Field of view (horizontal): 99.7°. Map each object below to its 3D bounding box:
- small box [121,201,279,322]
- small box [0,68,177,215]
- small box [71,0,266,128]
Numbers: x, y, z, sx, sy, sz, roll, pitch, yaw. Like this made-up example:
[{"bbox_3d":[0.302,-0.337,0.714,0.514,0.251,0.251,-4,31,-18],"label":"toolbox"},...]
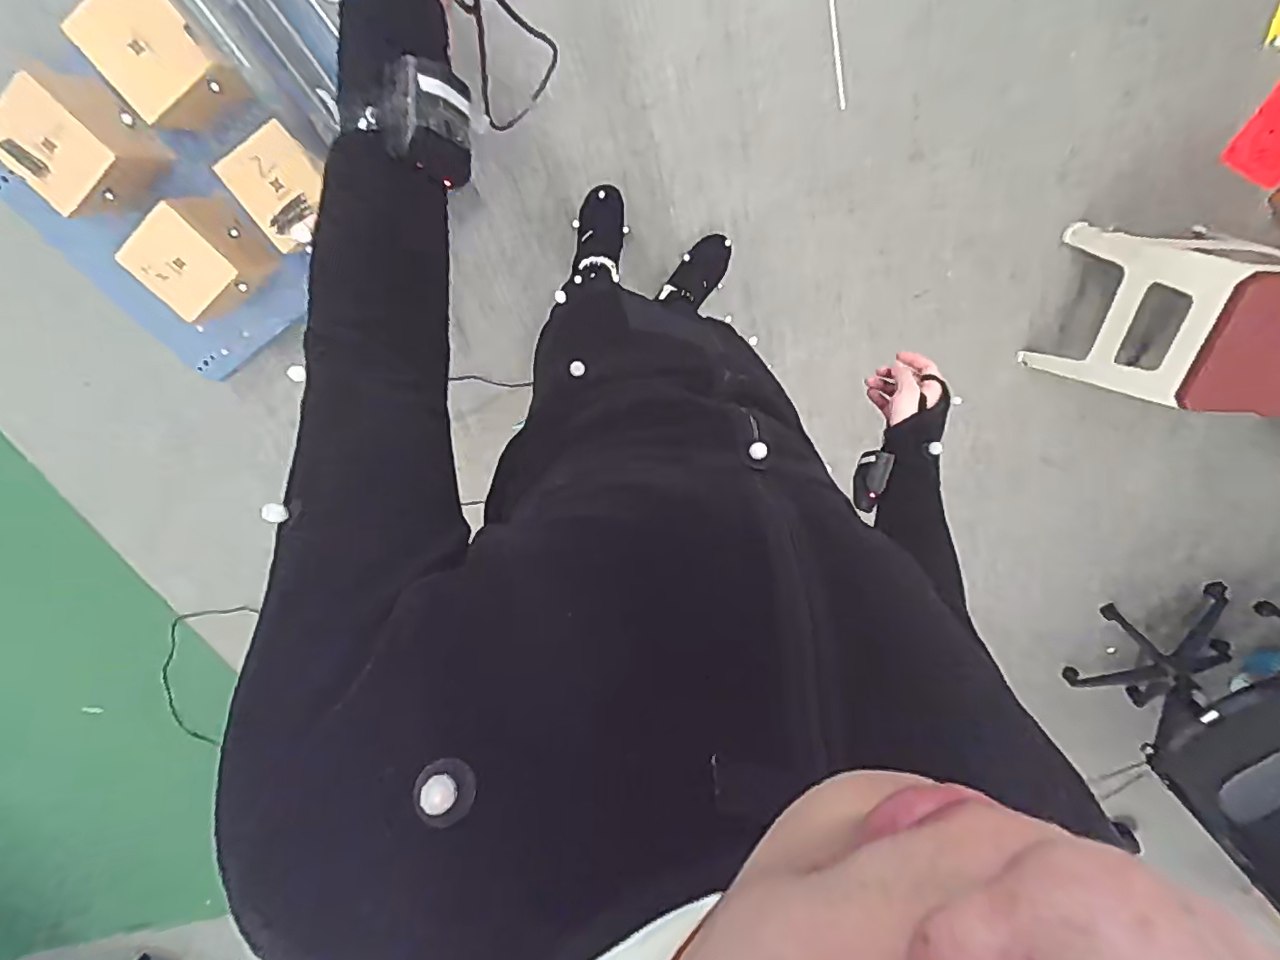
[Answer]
[{"bbox_3d":[-0.917,-0.471,1.152,0.179,0.176,0.168,-34,114,15],"label":"small box"},{"bbox_3d":[-1.068,-0.645,1.050,0.179,0.176,0.168,-34,115,15],"label":"small box"},{"bbox_3d":[-0.841,-0.778,0.987,0.179,0.176,0.168,-29,116,13],"label":"small box"}]
